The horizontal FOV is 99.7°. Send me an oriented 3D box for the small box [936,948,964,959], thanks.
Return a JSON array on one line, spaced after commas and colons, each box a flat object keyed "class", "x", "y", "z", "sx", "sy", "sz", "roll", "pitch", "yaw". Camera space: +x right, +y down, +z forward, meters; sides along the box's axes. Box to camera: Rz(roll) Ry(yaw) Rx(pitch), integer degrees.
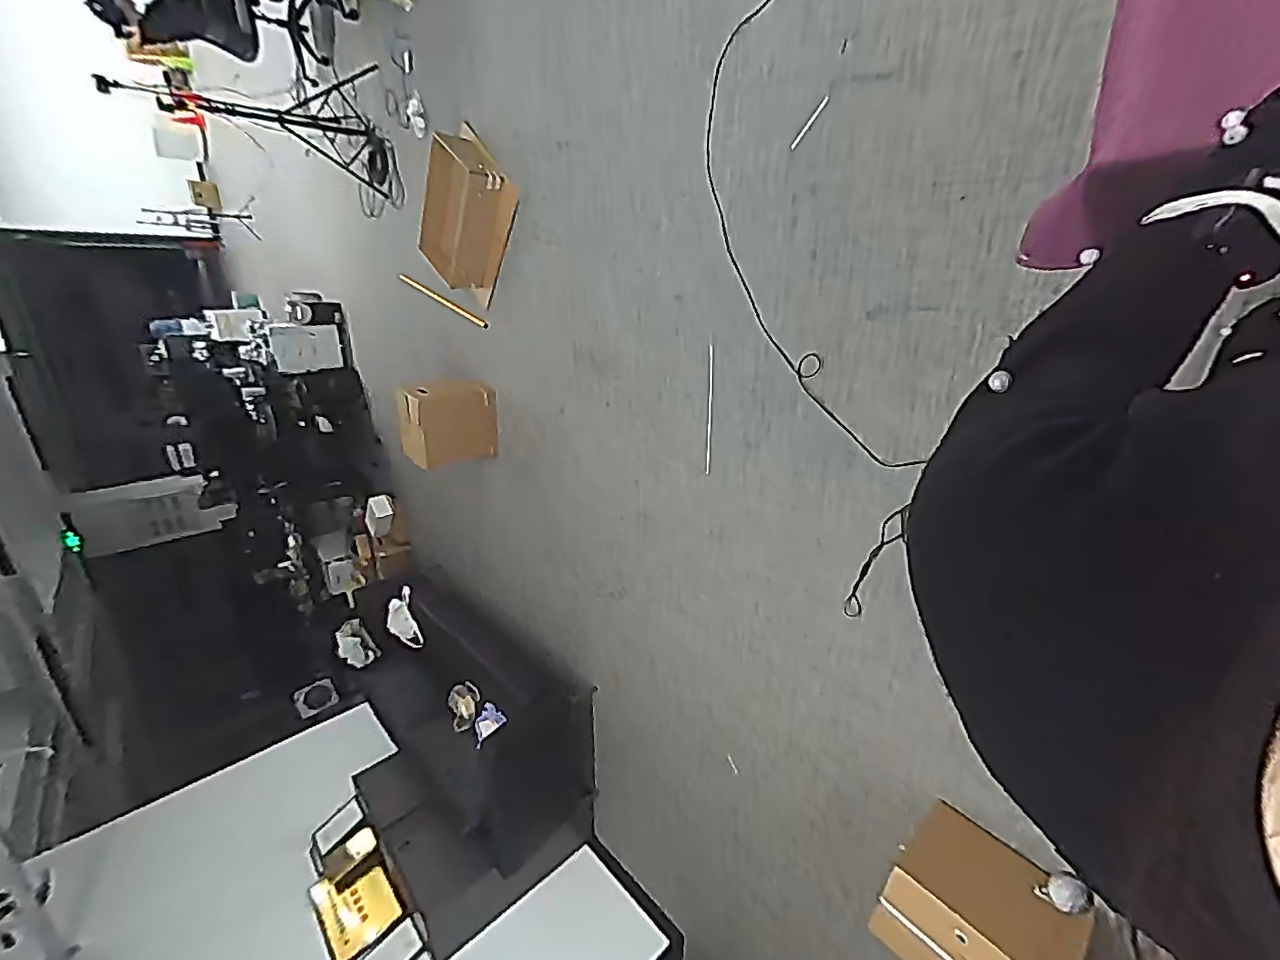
[{"class": "small box", "x": 0.792, "y": 1.335, "z": 1.345, "sx": 0.168, "sy": 0.176, "sz": 0.179, "roll": 27, "pitch": 125, "yaw": 40}]
